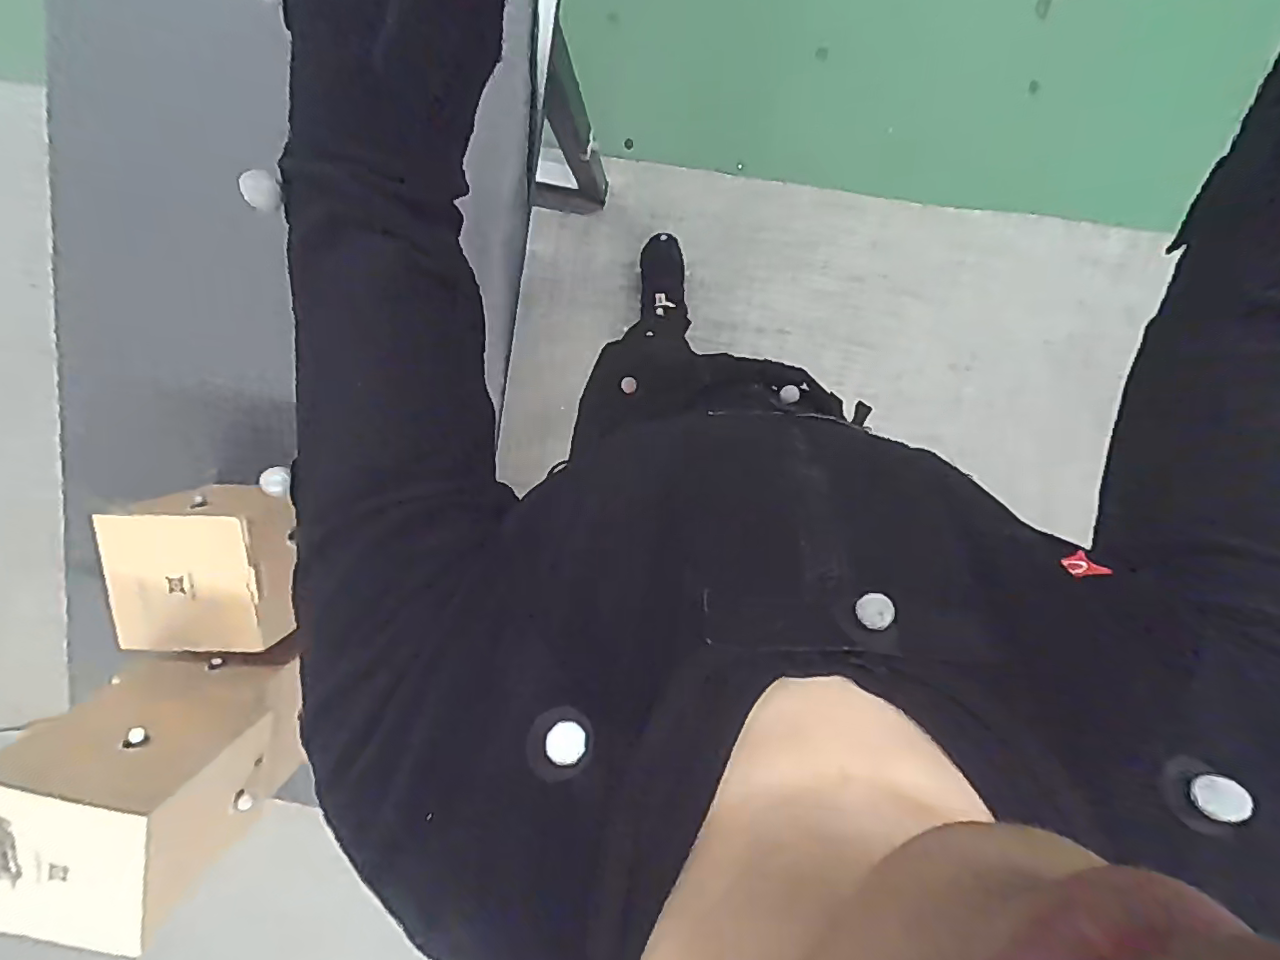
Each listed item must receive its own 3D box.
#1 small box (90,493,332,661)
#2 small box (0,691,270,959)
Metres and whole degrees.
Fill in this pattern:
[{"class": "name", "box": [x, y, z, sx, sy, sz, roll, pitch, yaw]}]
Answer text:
[{"class": "small box", "box": [-0.520, 0.112, 0.687, 0.179, 0.176, 0.168, 1, 100, 2]}, {"class": "small box", "box": [-0.535, 0.347, 0.563, 0.179, 0.176, 0.168, 13, 100, -1]}]
